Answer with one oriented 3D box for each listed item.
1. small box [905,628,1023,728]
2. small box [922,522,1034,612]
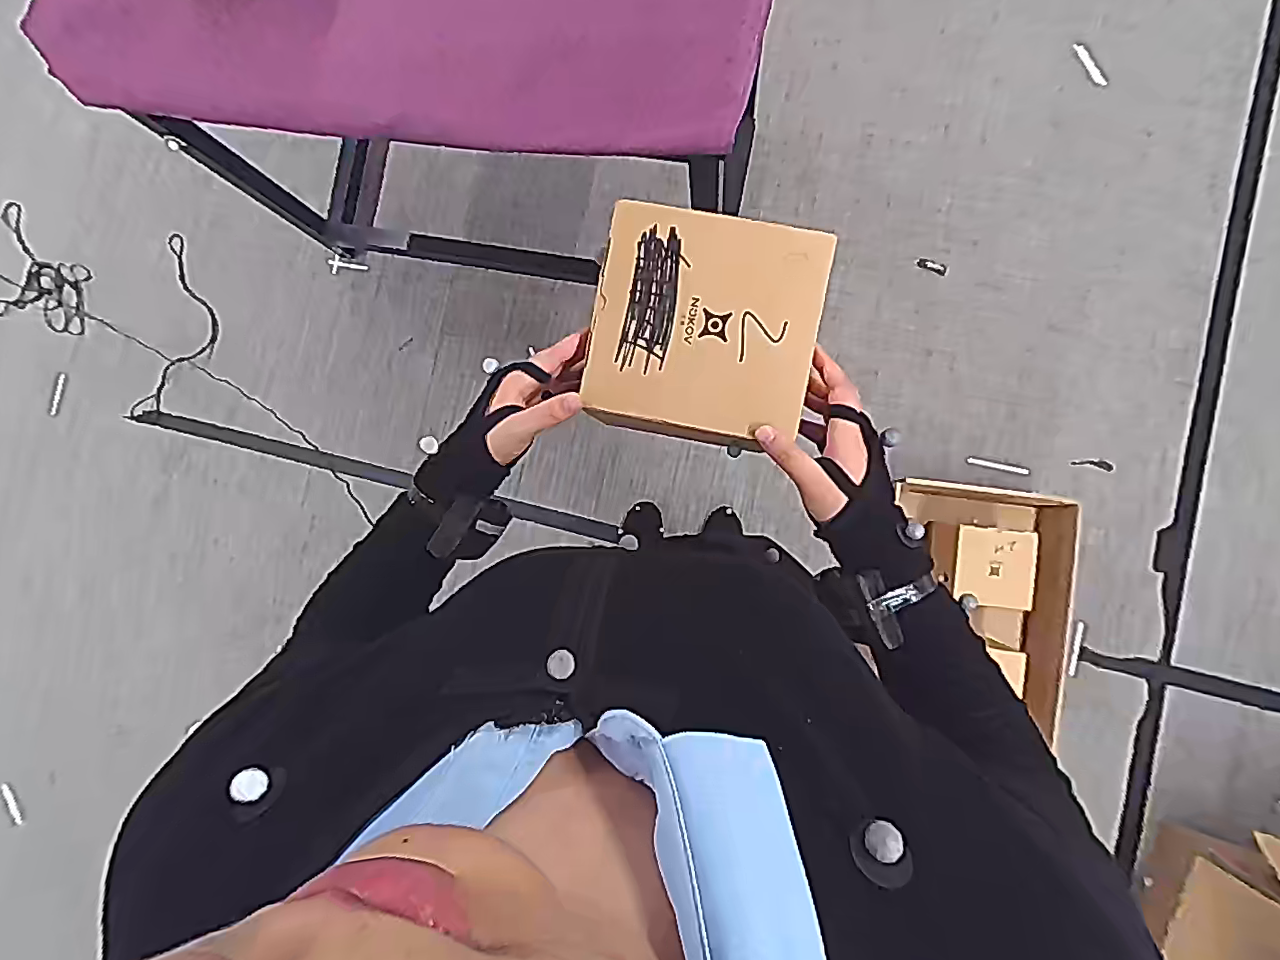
[{"bbox_3d":[0.753,0.456,1.273,0.179,0.176,0.168,8,87,7],"label":"small box"},{"bbox_3d":[0.789,0.199,1.279,0.168,0.176,0.179,6,89,6],"label":"small box"}]
